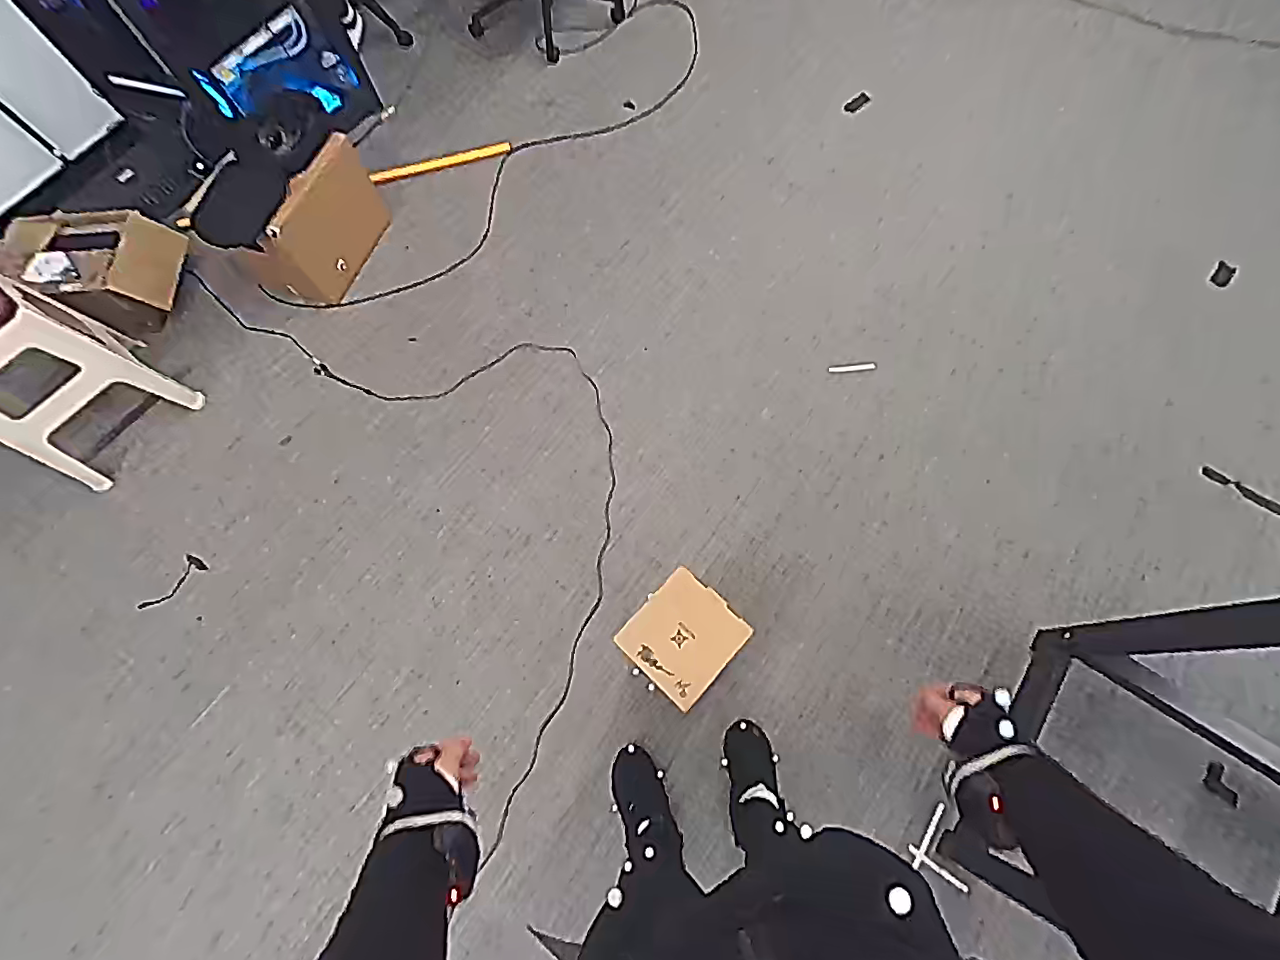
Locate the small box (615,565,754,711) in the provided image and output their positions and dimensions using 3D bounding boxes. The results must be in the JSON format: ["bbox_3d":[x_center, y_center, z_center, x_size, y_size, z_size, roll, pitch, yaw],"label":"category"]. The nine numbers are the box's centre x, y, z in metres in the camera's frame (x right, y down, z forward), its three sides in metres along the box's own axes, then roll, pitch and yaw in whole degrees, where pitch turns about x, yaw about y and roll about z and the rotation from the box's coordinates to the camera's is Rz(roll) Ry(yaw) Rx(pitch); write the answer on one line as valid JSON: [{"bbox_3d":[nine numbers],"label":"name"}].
[{"bbox_3d":[0.073,0.283,0.967,0.168,0.176,0.179,41,75,15],"label":"small box"}]
